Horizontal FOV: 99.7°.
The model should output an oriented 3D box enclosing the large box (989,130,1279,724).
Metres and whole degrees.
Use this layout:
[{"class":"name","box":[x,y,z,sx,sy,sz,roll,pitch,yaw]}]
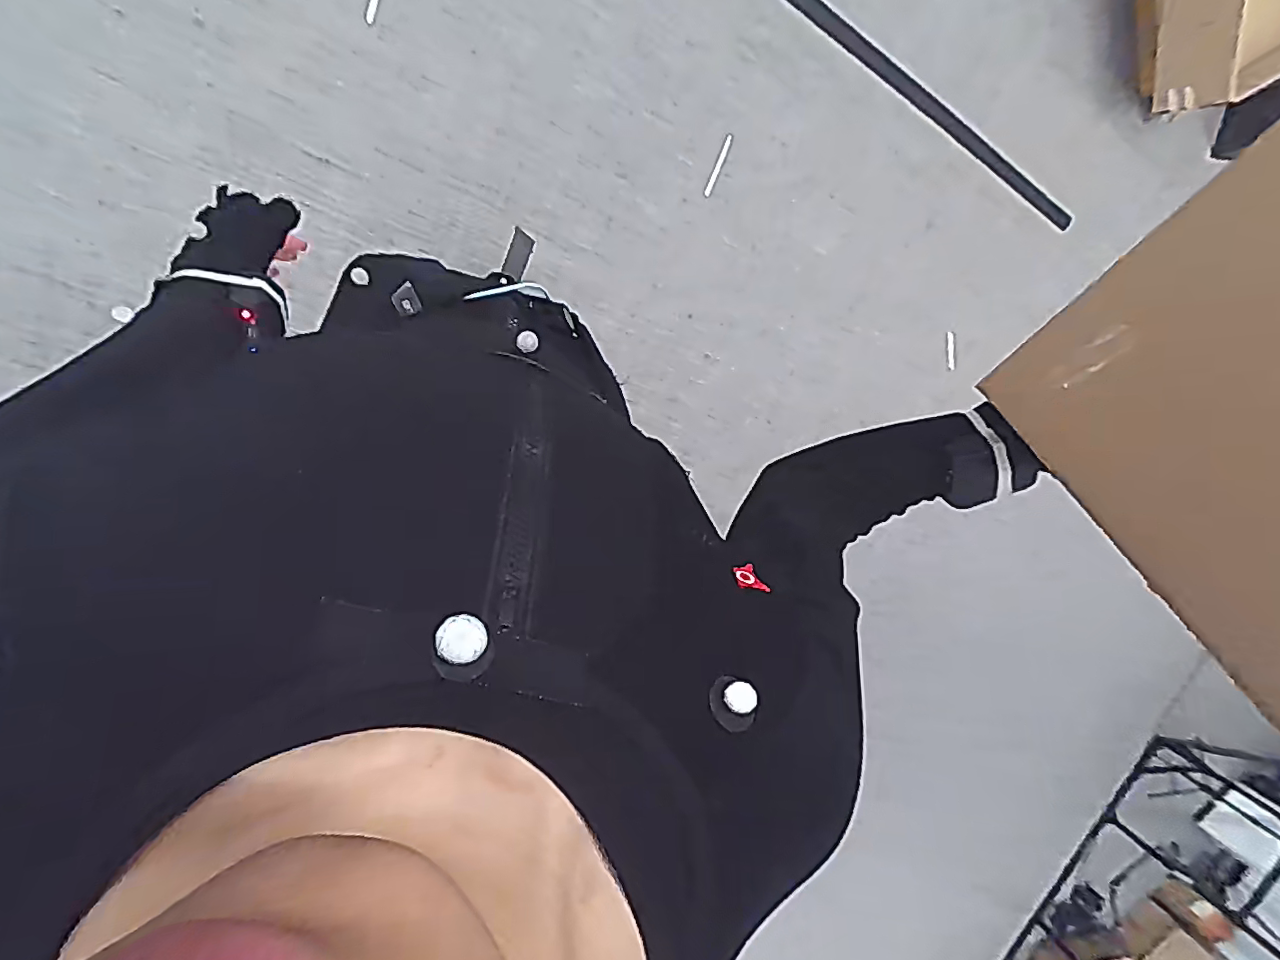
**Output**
[{"class":"large box","box":[0.441,0.007,0.211,0.320,0.408,0.320,33,125,-11]}]
